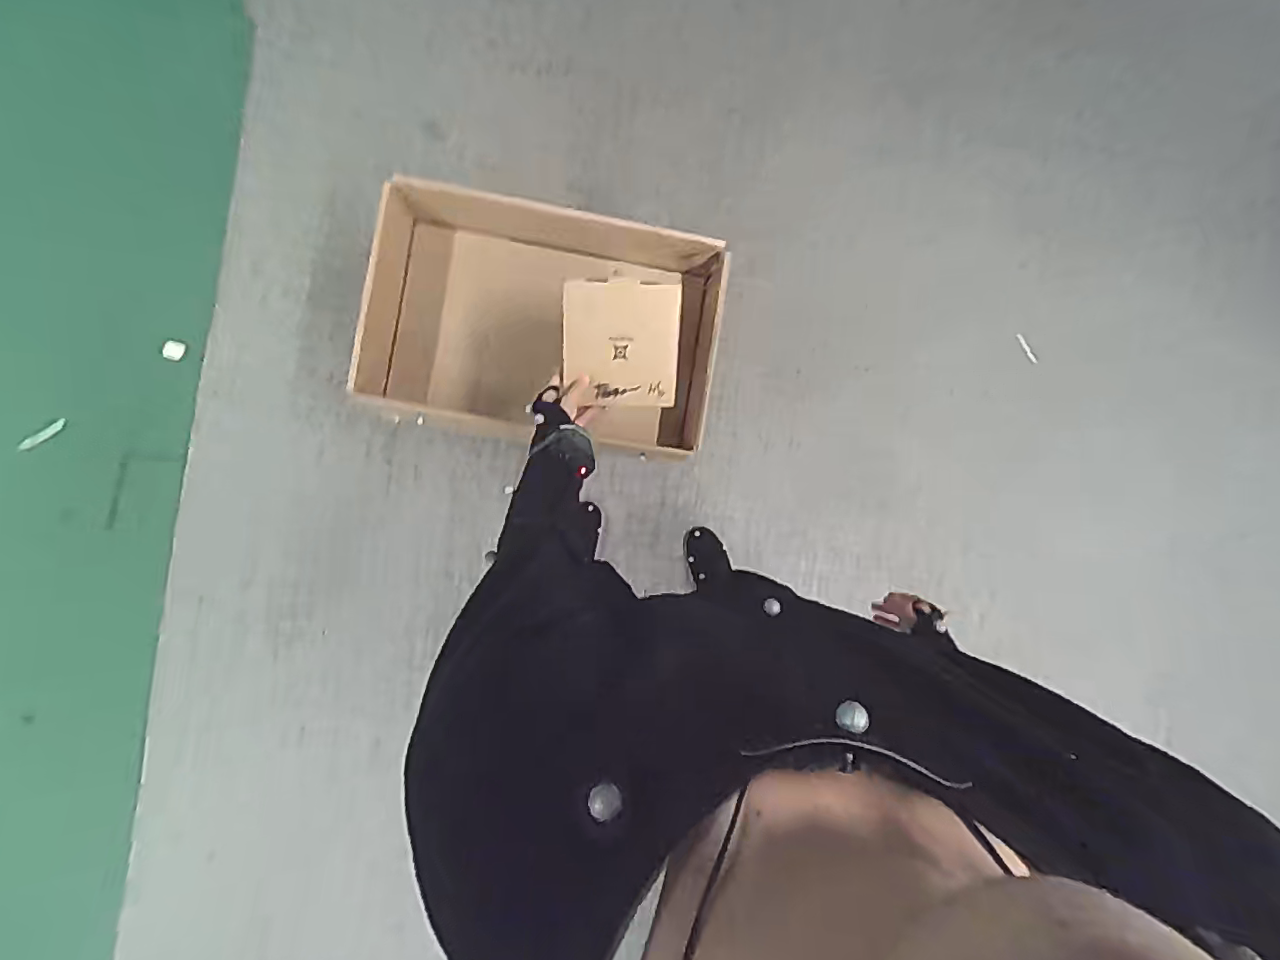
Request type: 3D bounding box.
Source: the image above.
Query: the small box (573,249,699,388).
[{"bbox_3d":[-0.014,-0.245,0.811,0.168,0.176,0.179,2,113,-5],"label":"small box"}]
